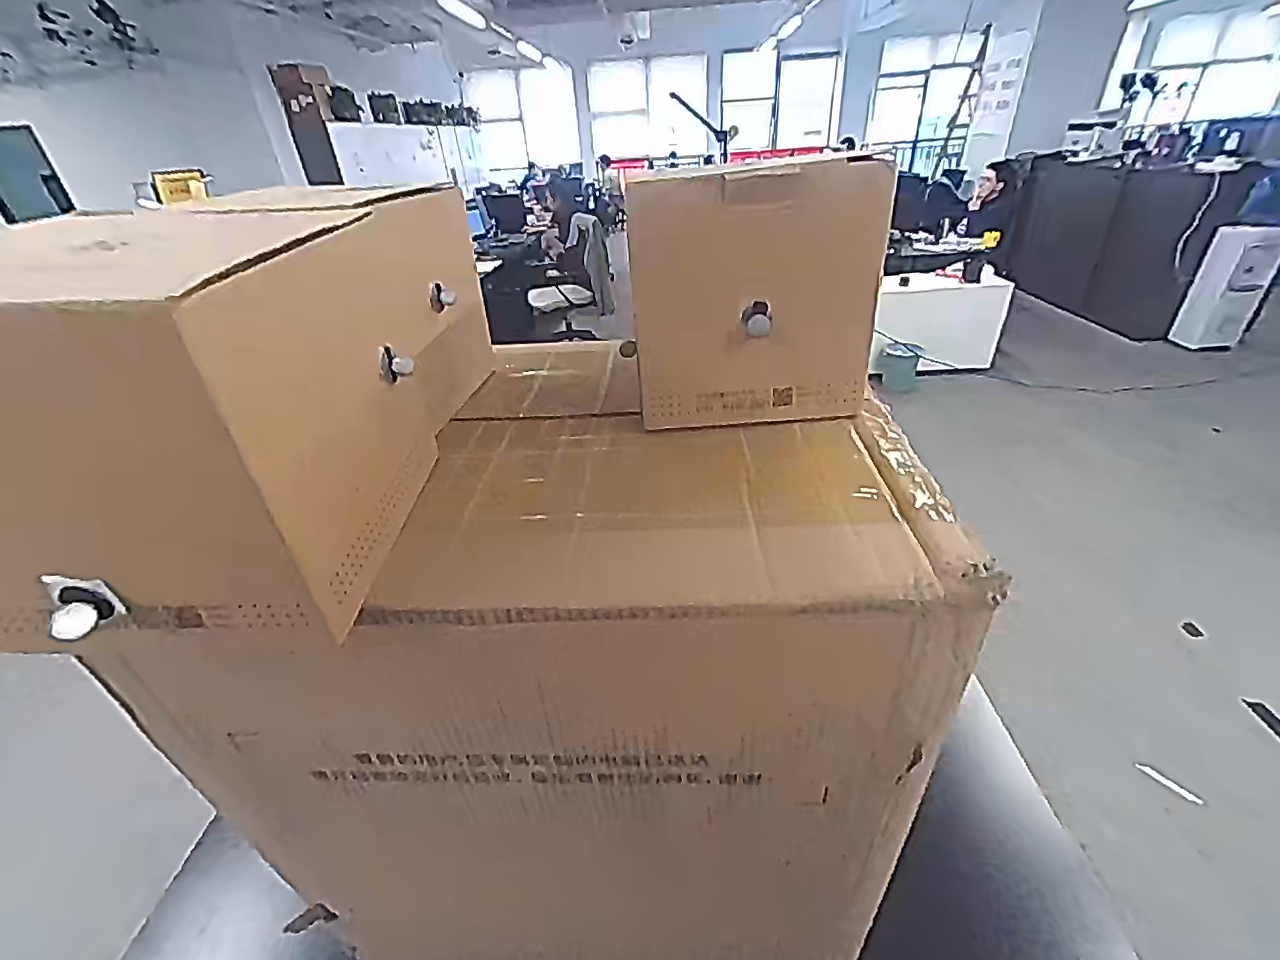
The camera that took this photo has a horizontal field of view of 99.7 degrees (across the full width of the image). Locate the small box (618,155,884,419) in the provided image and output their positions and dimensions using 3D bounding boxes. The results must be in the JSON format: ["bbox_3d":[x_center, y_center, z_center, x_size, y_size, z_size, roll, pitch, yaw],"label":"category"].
[{"bbox_3d":[0.074,-0.156,0.438,0.168,0.176,0.179,-4,32,1],"label":"small box"}]
